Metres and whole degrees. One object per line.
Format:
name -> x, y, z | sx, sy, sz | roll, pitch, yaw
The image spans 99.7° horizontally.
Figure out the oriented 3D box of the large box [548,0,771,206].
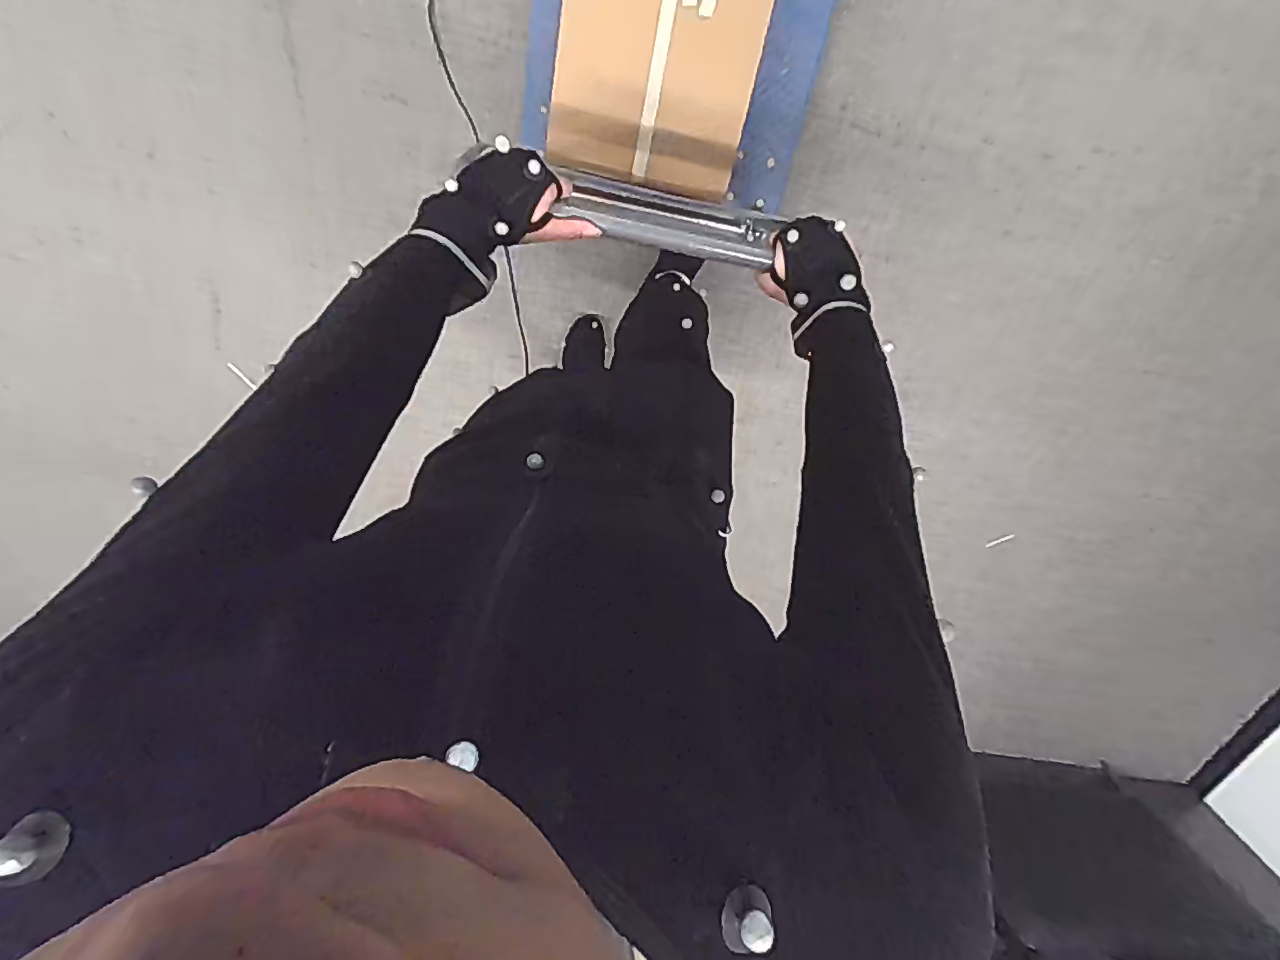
large box -> 0.031, -0.745, 0.973 | 0.320, 0.320, 0.408 | 10, 115, -6
